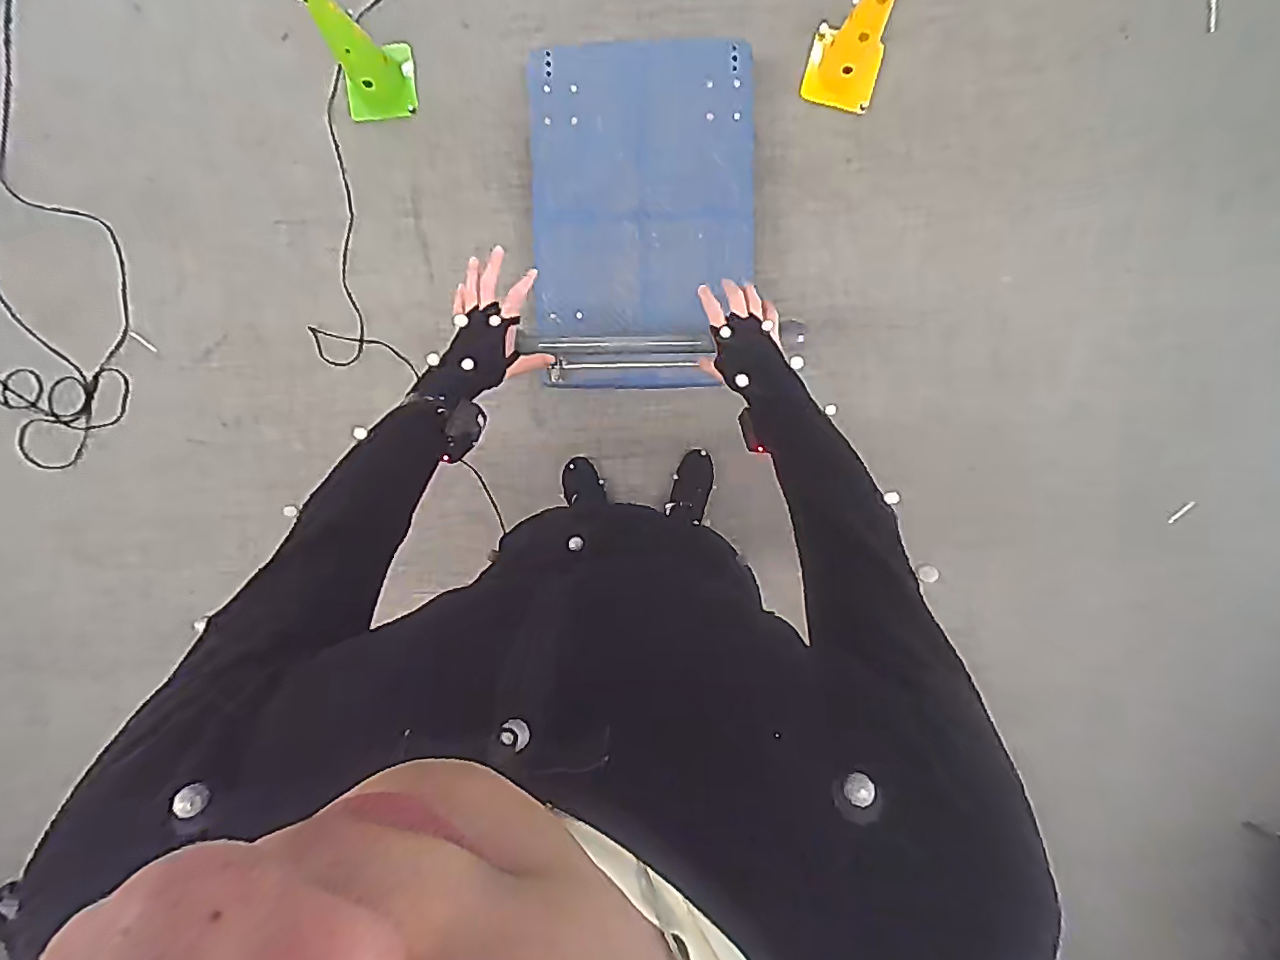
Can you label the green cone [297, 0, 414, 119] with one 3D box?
[{"bbox_3d":[-0.768,-1.147,1.391,0.202,0.368,0.200,-6,94,4],"label":"green cone"}]
